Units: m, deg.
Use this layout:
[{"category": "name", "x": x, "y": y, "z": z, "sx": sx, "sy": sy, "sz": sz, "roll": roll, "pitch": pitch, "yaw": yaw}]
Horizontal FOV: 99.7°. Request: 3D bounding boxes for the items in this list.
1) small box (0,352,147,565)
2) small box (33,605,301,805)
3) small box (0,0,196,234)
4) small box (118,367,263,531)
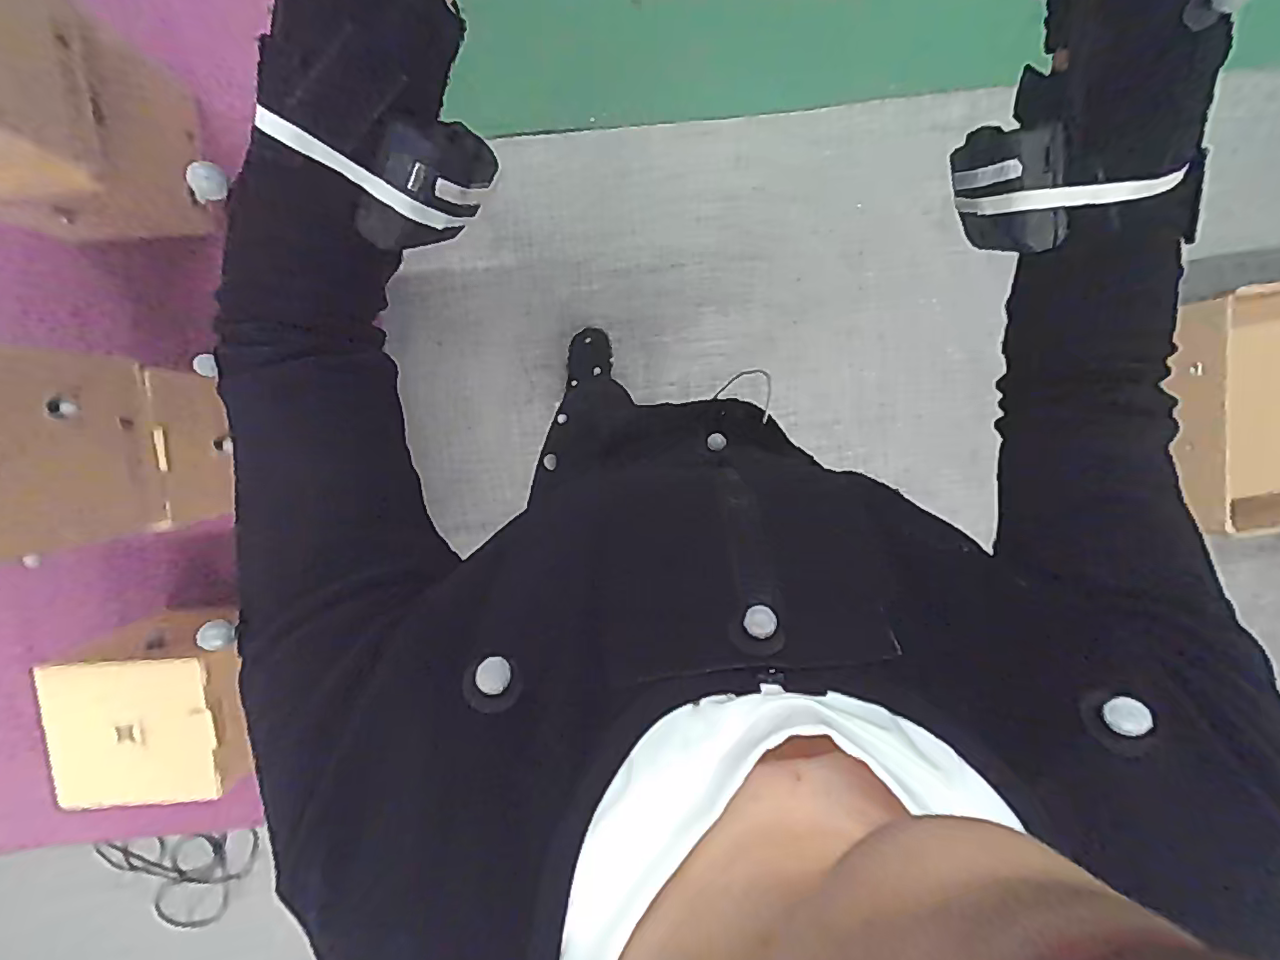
[{"category": "small box", "x": -0.573, "y": -0.022, "z": 0.459, "sx": 0.179, "sy": 0.176, "sz": 0.168, "roll": -3, "pitch": 98, "yaw": -2}, {"category": "small box", "x": -0.559, "y": 0.262, "z": 0.665, "sx": 0.179, "sy": 0.176, "sz": 0.168, "roll": -2, "pitch": 98, "yaw": -3}, {"category": "small box", "x": -0.616, "y": -0.374, "z": 0.572, "sx": 0.179, "sy": 0.176, "sz": 0.168, "roll": -1, "pitch": 96, "yaw": -3}, {"category": "small box", "x": -0.575, "y": -0.043, "z": 0.625, "sx": 0.179, "sy": 0.176, "sz": 0.168, "roll": -3, "pitch": 103, "yaw": -1}]
